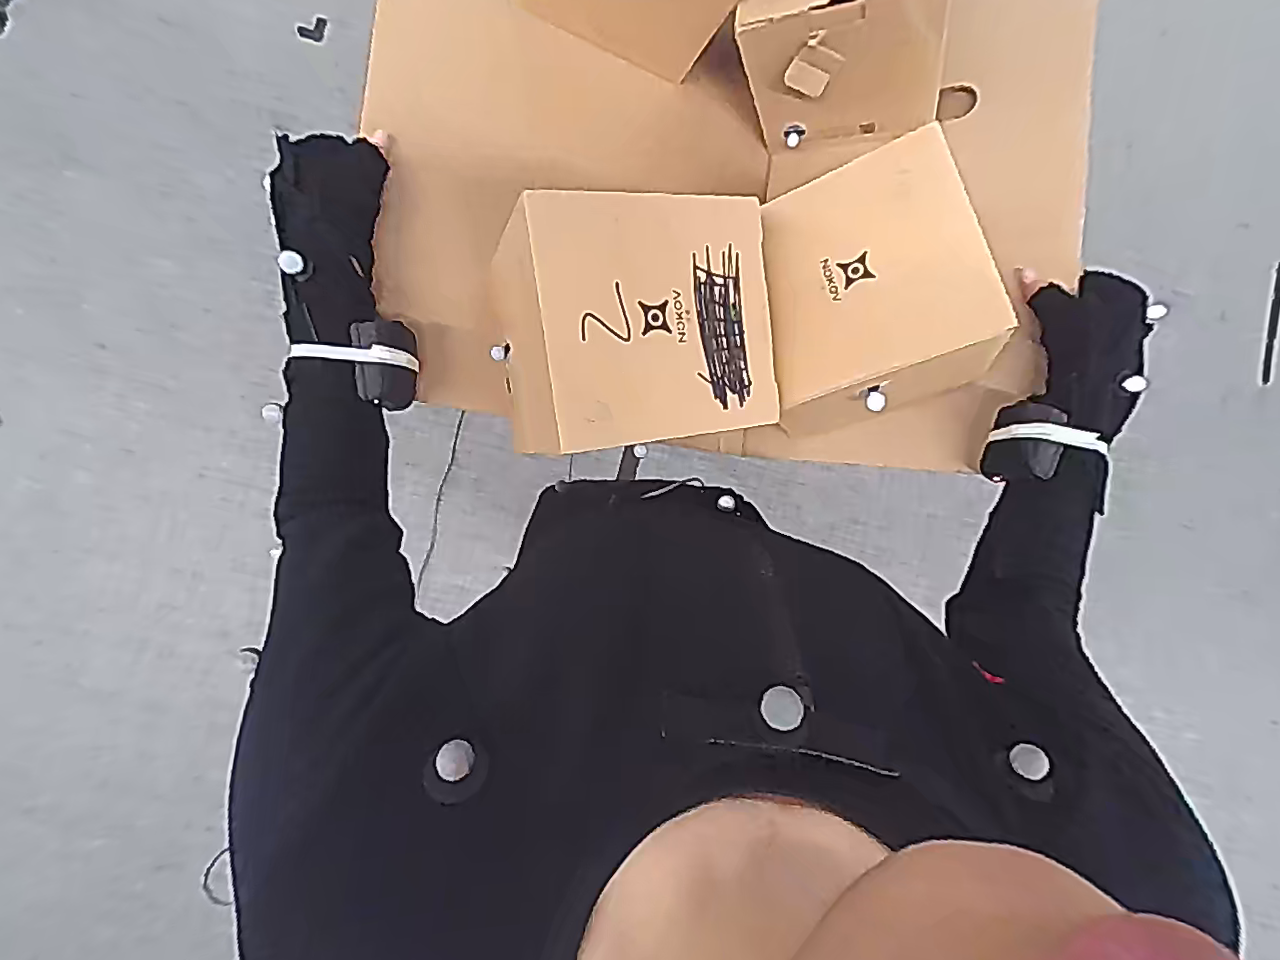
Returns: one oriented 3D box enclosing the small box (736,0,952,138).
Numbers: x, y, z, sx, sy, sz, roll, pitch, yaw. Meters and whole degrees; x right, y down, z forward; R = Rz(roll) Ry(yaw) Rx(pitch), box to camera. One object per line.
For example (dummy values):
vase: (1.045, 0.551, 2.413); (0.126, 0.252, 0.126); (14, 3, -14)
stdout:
small box: (0.200, -0.454, 0.505); (0.168, 0.176, 0.179); (8, 87, 24)
